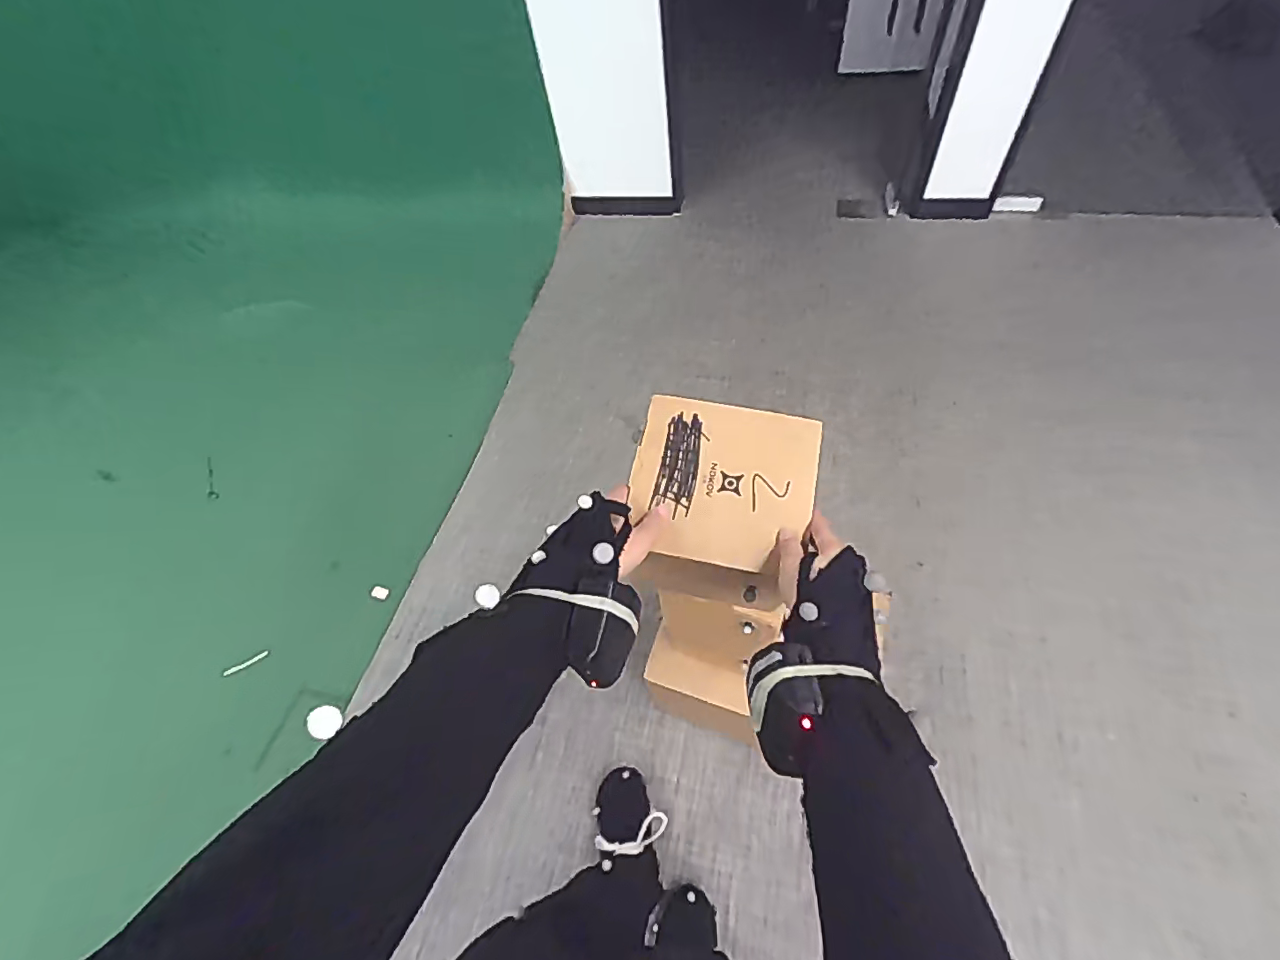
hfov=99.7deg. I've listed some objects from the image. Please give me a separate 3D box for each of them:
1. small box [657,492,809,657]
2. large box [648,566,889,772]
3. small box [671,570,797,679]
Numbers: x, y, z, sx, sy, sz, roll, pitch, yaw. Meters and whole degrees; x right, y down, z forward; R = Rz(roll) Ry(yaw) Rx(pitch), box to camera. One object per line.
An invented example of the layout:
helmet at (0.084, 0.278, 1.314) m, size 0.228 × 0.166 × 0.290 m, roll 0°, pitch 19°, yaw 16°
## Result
small box at (0.139, 0.147, 0.820) m, size 0.179 × 0.176 × 0.168 m, roll 16°, pitch 59°, yaw 16°
large box at (0.260, 0.373, 1.143) m, size 0.408 × 0.320 × 0.320 m, roll 14°, pitch 60°, yaw 15°
small box at (0.165, 0.234, 0.956) m, size 0.179 × 0.176 × 0.168 m, roll 13°, pitch 58°, yaw 17°
